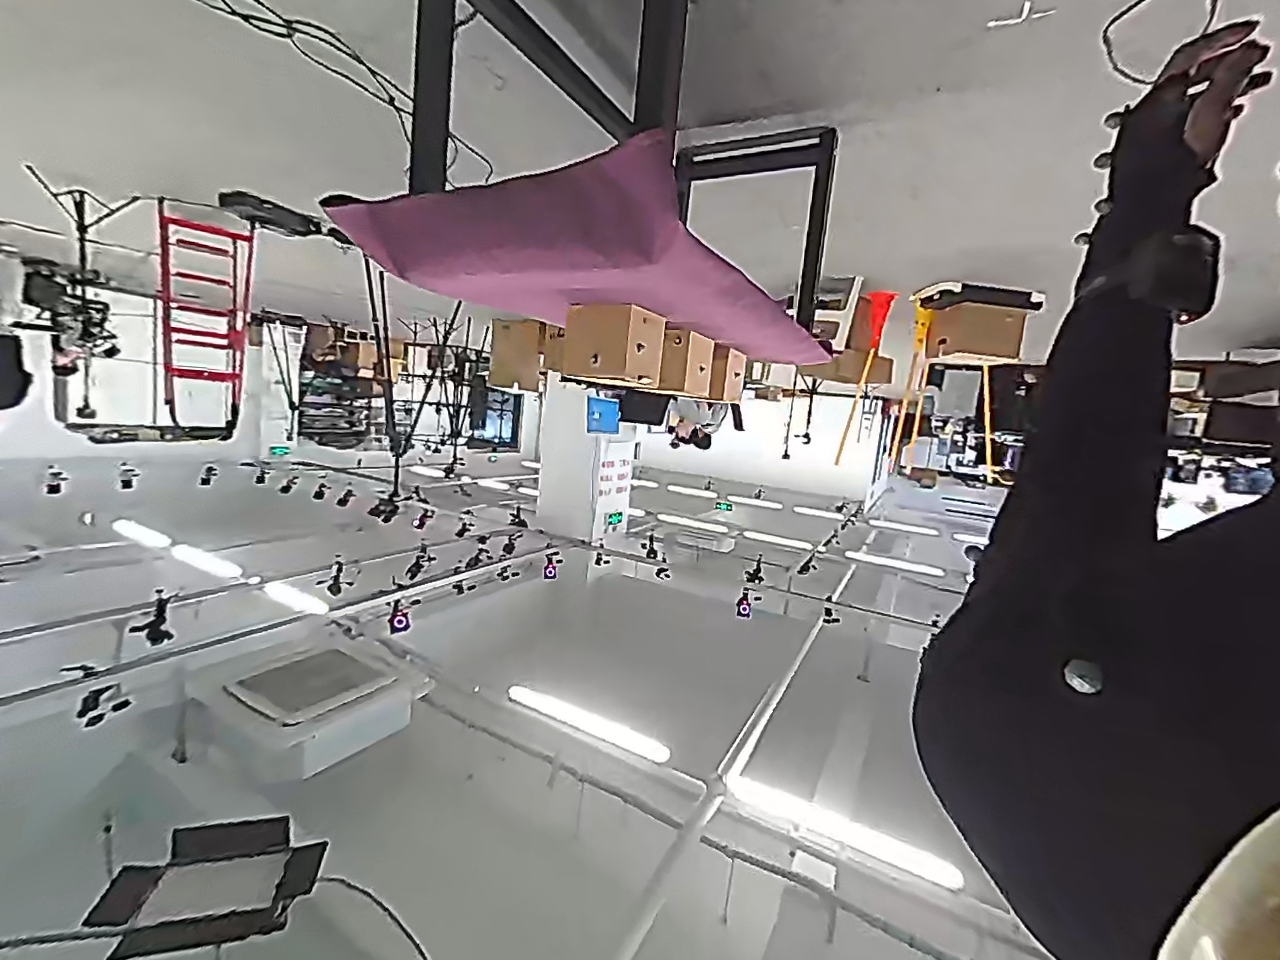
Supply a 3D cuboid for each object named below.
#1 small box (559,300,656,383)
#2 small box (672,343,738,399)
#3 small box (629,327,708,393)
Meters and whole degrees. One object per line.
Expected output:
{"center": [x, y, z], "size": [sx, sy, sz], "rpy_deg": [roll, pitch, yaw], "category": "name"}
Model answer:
{"center": [-0.072, -0.321, 1.266], "size": [0.179, 0.176, 0.168], "rpy_deg": [9, -172, 27], "category": "small box"}
{"center": [0.221, -0.362, 1.801], "size": [0.179, 0.176, 0.168], "rpy_deg": [8, -173, 29], "category": "small box"}
{"center": [0.083, -0.342, 1.545], "size": [0.168, 0.176, 0.179], "rpy_deg": [9, -171, 29], "category": "small box"}
